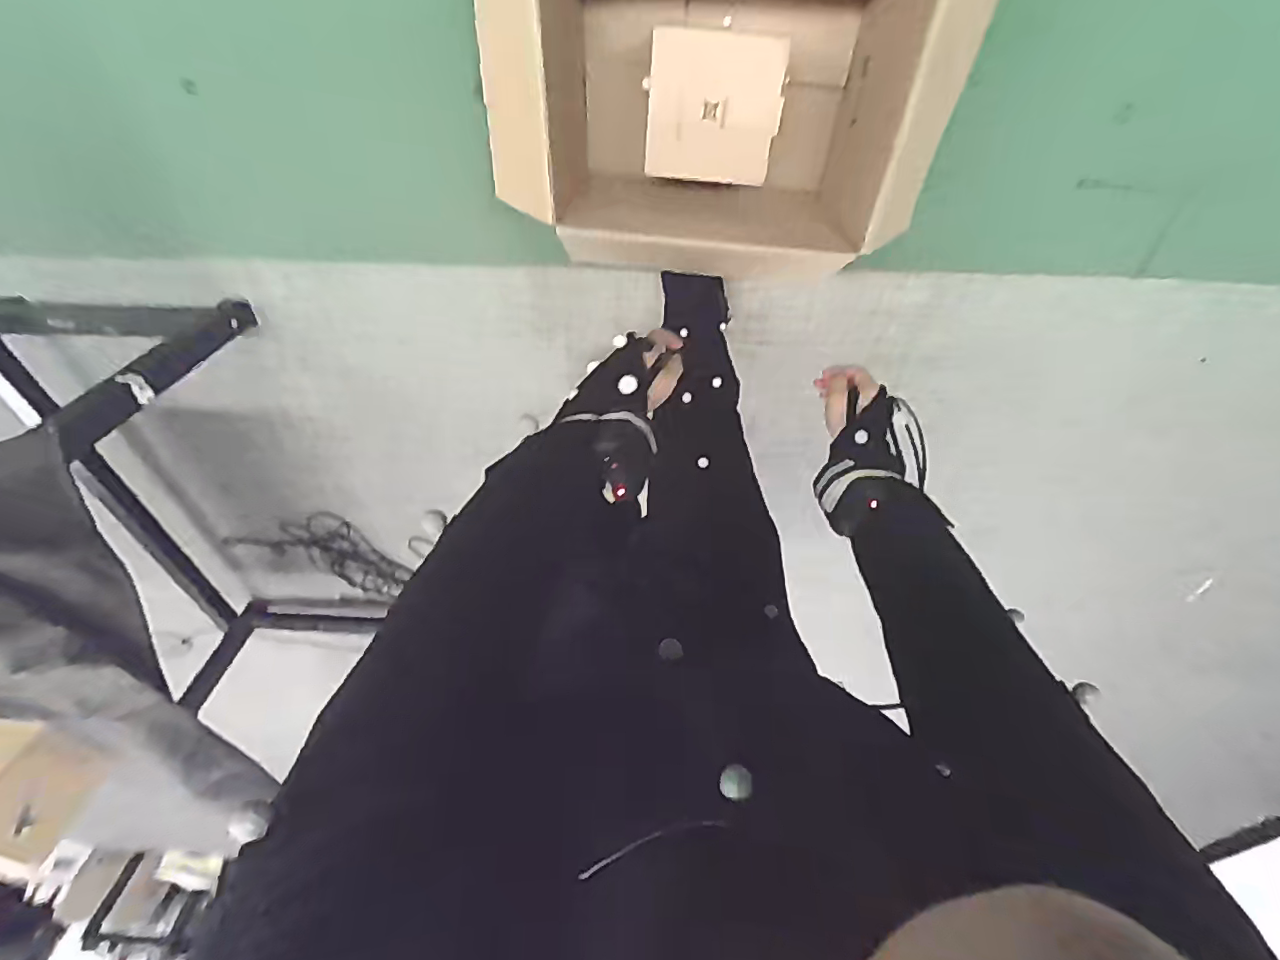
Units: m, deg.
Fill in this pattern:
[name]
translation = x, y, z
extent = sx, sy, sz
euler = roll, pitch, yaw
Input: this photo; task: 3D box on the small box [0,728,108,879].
[small box]
translation = -1.029, 0.506, 0.854
extent = 0.168, 0.176, 0.179
euler = 0, 133, 5
